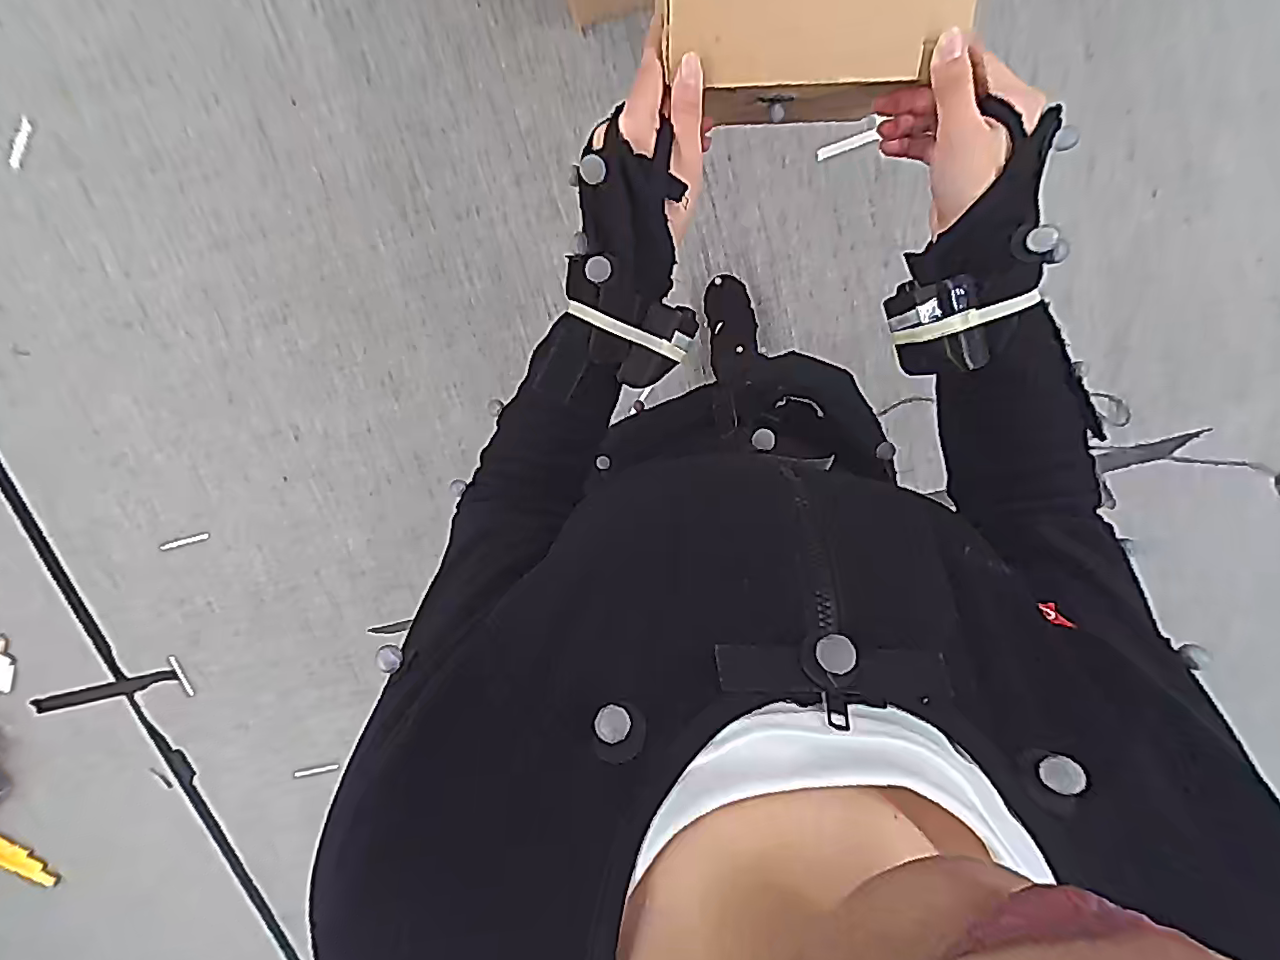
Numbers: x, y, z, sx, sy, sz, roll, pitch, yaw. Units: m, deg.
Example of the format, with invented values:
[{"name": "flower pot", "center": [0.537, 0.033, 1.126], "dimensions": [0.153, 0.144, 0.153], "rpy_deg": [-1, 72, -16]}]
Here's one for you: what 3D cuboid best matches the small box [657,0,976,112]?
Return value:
[{"name": "small box", "center": [0.099, -0.350, 0.350], "dimensions": [0.179, 0.176, 0.168], "rpy_deg": [-2, 117, 0]}]
